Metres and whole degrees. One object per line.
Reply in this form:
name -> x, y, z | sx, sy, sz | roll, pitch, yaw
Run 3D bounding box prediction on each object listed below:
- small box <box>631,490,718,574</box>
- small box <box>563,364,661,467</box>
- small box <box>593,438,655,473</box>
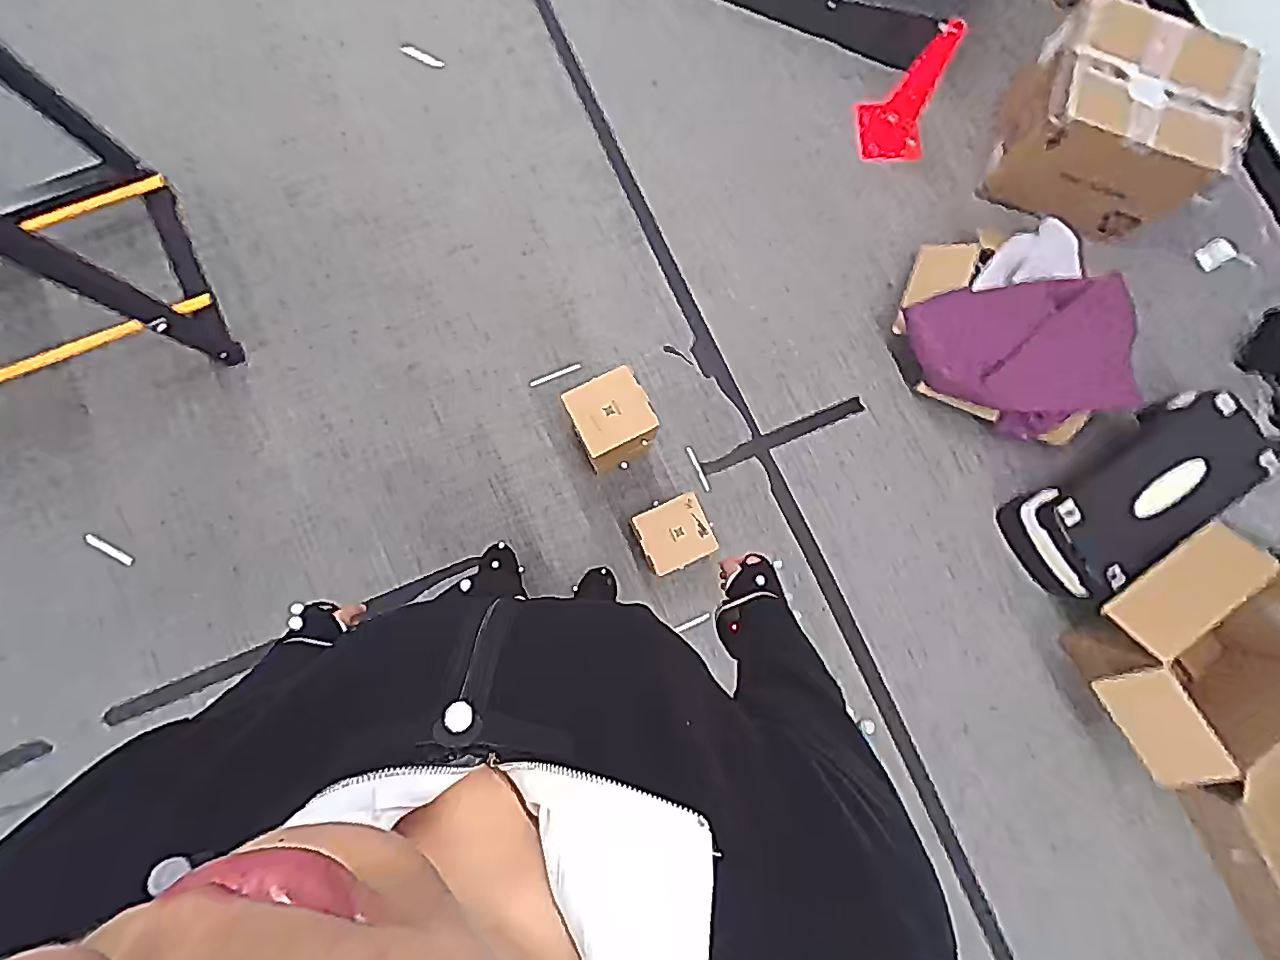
small box -> 0.086, 0.142, 1.447 | 0.179, 0.176, 0.168 | -23, 85, -5
small box -> -0.067, -0.149, 1.307 | 0.179, 0.176, 0.168 | -28, 84, -5
small box -> -0.075, -0.134, 1.469 | 0.168, 0.176, 0.179 | -25, 86, -6
